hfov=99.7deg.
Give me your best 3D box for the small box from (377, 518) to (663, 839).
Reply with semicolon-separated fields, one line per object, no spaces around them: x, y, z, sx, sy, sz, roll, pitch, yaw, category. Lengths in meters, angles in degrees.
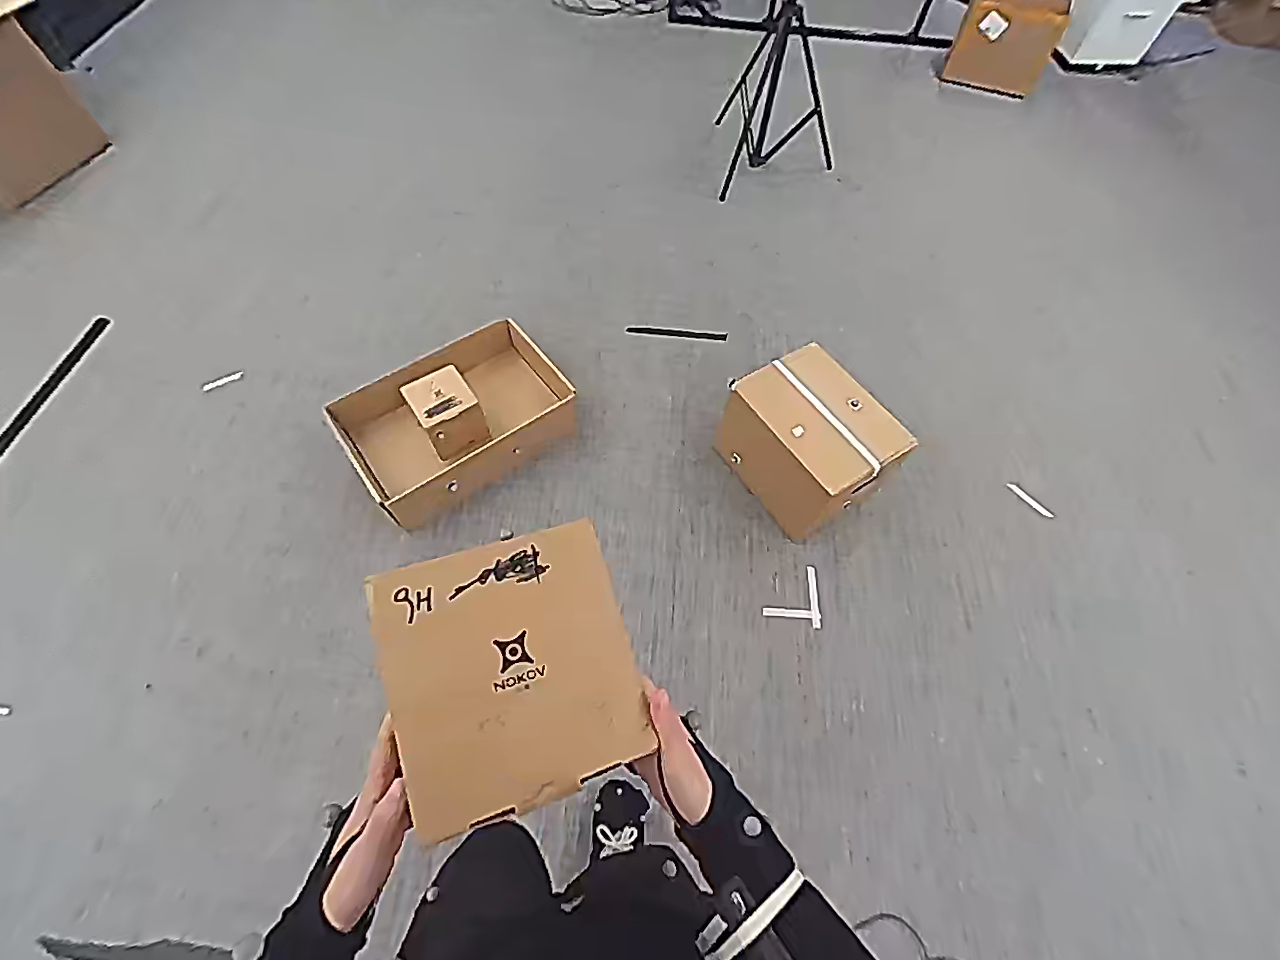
-0.102;0.149;0.451;0.168;0.176;0.179;-14;77;-20;small box
